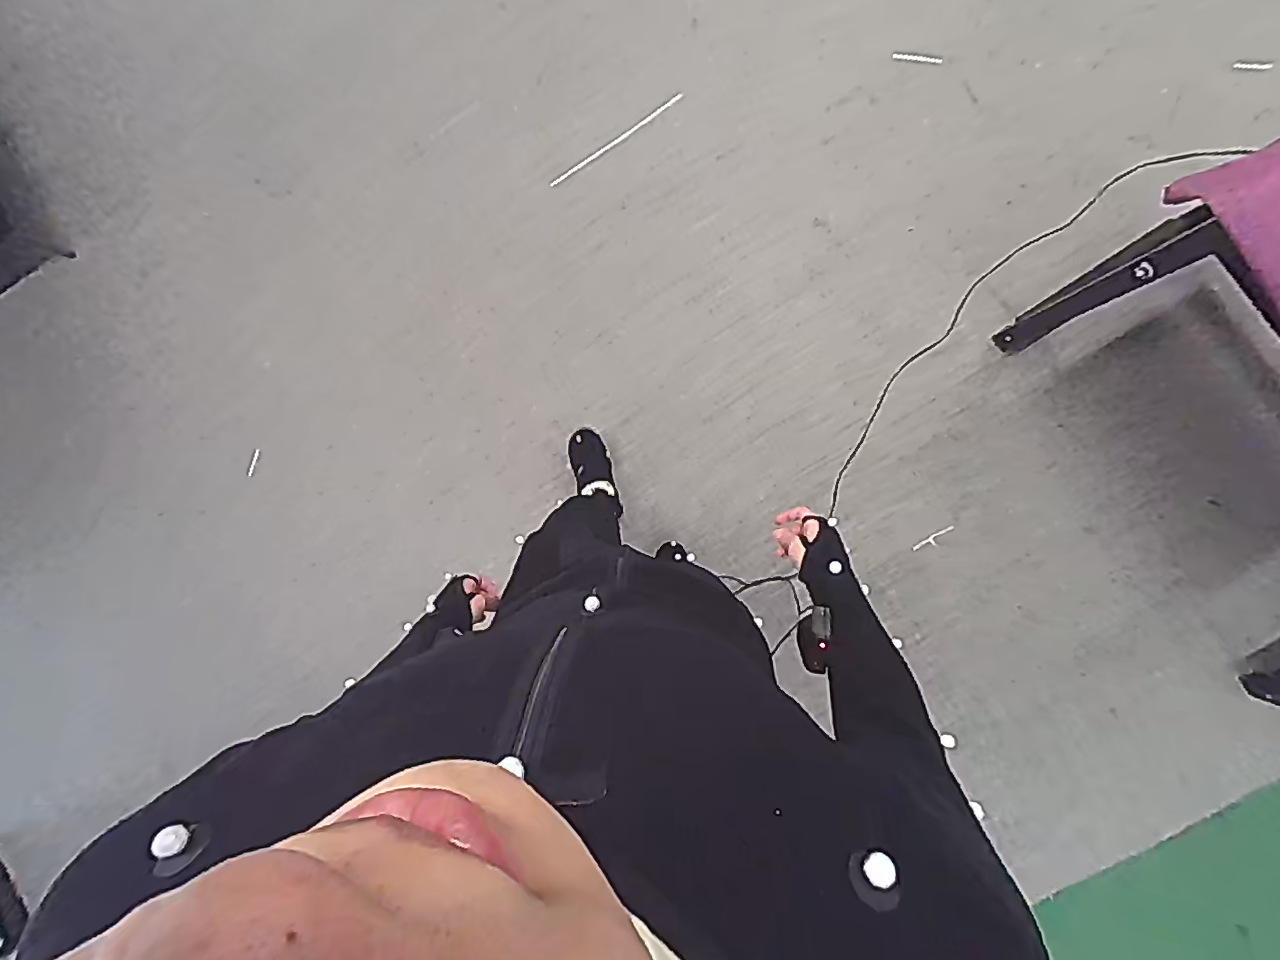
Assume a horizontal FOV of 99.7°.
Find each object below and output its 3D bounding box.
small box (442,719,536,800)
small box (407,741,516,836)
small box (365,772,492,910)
[{"bbox_3d":[-0.422,0.811,1.531,0.179,0.176,0.168,-26,85,4],"label":"small box"},{"bbox_3d":[-0.444,0.797,1.368,0.179,0.176,0.168,-25,86,6],"label":"small box"},{"bbox_3d":[-0.462,0.794,1.206,0.179,0.176,0.168,-24,86,5],"label":"small box"}]
